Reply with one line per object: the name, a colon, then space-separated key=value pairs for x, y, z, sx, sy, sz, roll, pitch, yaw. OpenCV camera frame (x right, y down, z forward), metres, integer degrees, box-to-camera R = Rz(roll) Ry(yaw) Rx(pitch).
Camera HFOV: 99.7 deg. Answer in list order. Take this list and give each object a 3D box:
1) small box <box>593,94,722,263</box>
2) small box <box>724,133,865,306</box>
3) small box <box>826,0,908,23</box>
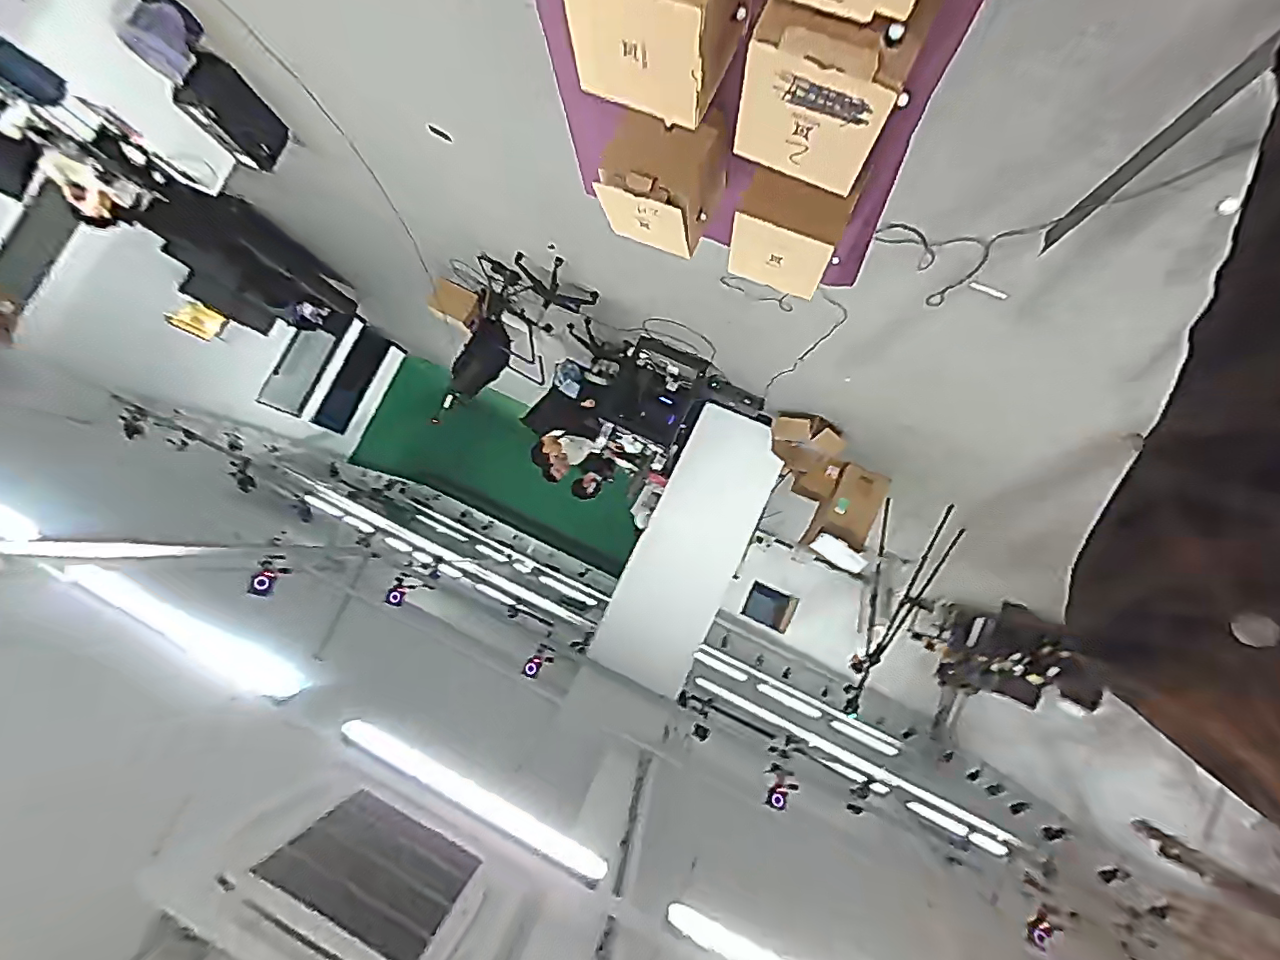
small box: x=0.039 y=-0.531 z=0.965 sx=0.168 sy=0.176 sz=0.179 roll=23 pitch=173 yaw=10
small box: x=0.256 y=-0.435 z=0.919 sx=0.168 sy=0.176 sz=0.179 roll=24 pitch=173 yaw=8
small box: x=0.187 y=-0.525 z=0.416 sx=0.168 sy=0.176 sz=0.179 roll=25 pitch=174 yaw=9
